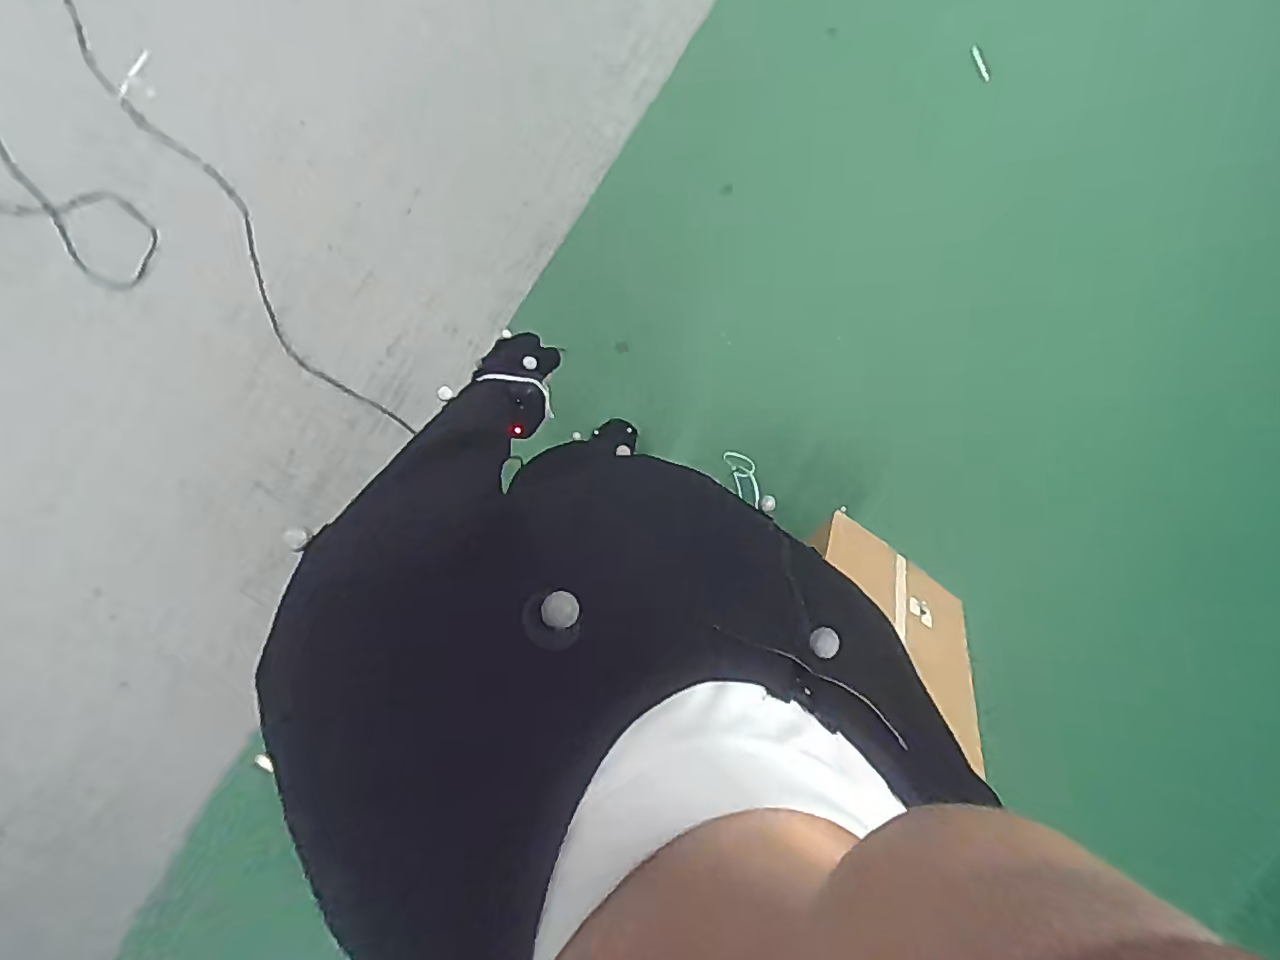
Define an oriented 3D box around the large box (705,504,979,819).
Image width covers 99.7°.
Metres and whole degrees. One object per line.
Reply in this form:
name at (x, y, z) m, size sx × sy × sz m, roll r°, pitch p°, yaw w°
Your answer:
large box at (0.370, 0.326, 1.029) m, size 0.320 × 0.408 × 0.320 m, roll 38°, pitch 125°, yaw 3°
